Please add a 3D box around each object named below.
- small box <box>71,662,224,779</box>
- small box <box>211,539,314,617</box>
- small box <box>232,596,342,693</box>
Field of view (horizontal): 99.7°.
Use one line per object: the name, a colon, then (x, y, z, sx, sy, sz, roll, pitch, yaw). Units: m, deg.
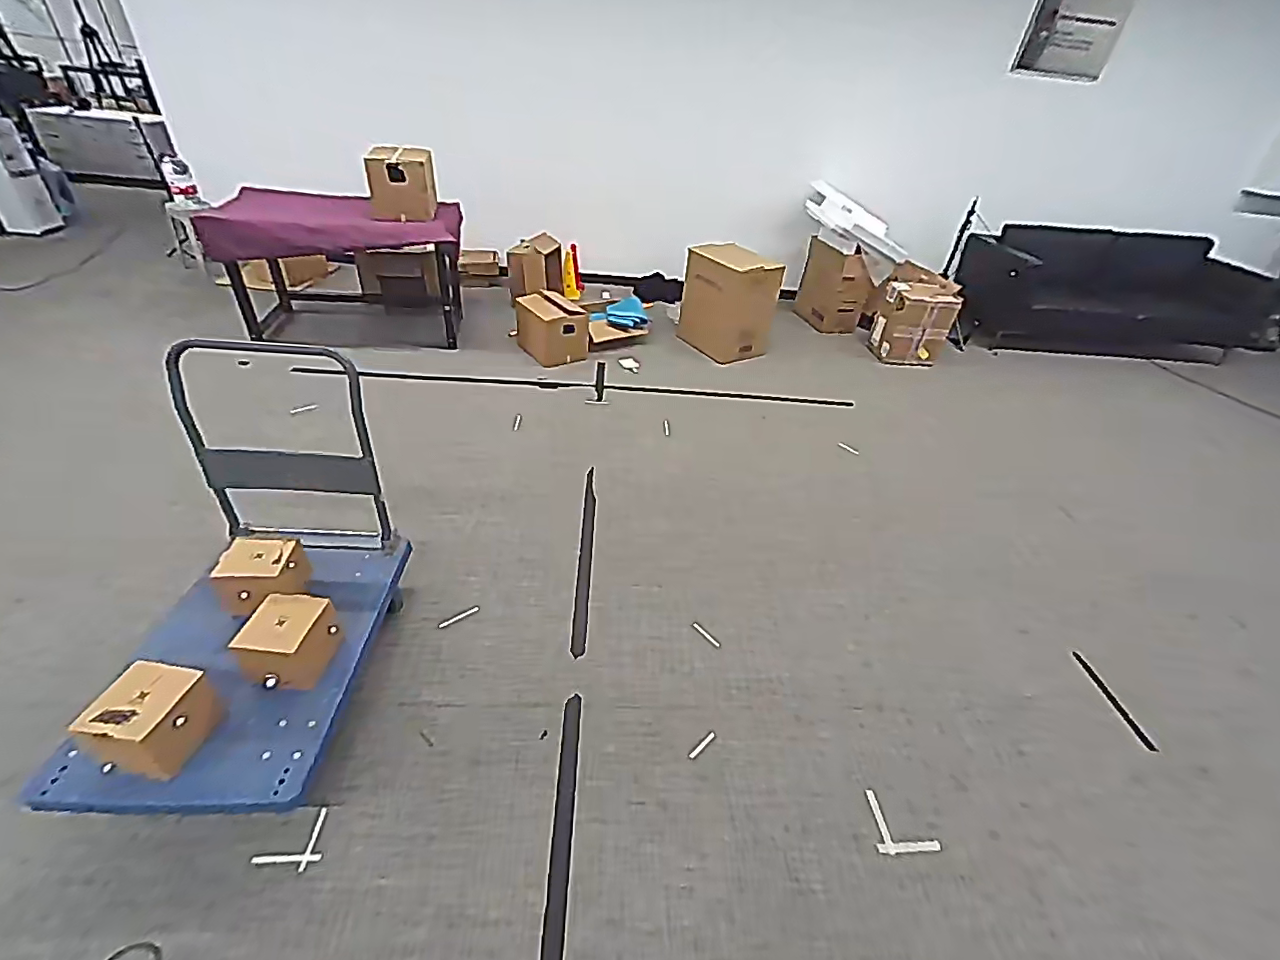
small box: (-1.116, 0.556, 1.246, 0.168, 0.176, 0.179, 9, 35, 3)
small box: (-1.108, 0.293, 1.605, 0.179, 0.176, 0.168, 0, 38, -7)
small box: (-0.925, 0.437, 1.441, 0.168, 0.176, 0.179, 5, 38, 1)
